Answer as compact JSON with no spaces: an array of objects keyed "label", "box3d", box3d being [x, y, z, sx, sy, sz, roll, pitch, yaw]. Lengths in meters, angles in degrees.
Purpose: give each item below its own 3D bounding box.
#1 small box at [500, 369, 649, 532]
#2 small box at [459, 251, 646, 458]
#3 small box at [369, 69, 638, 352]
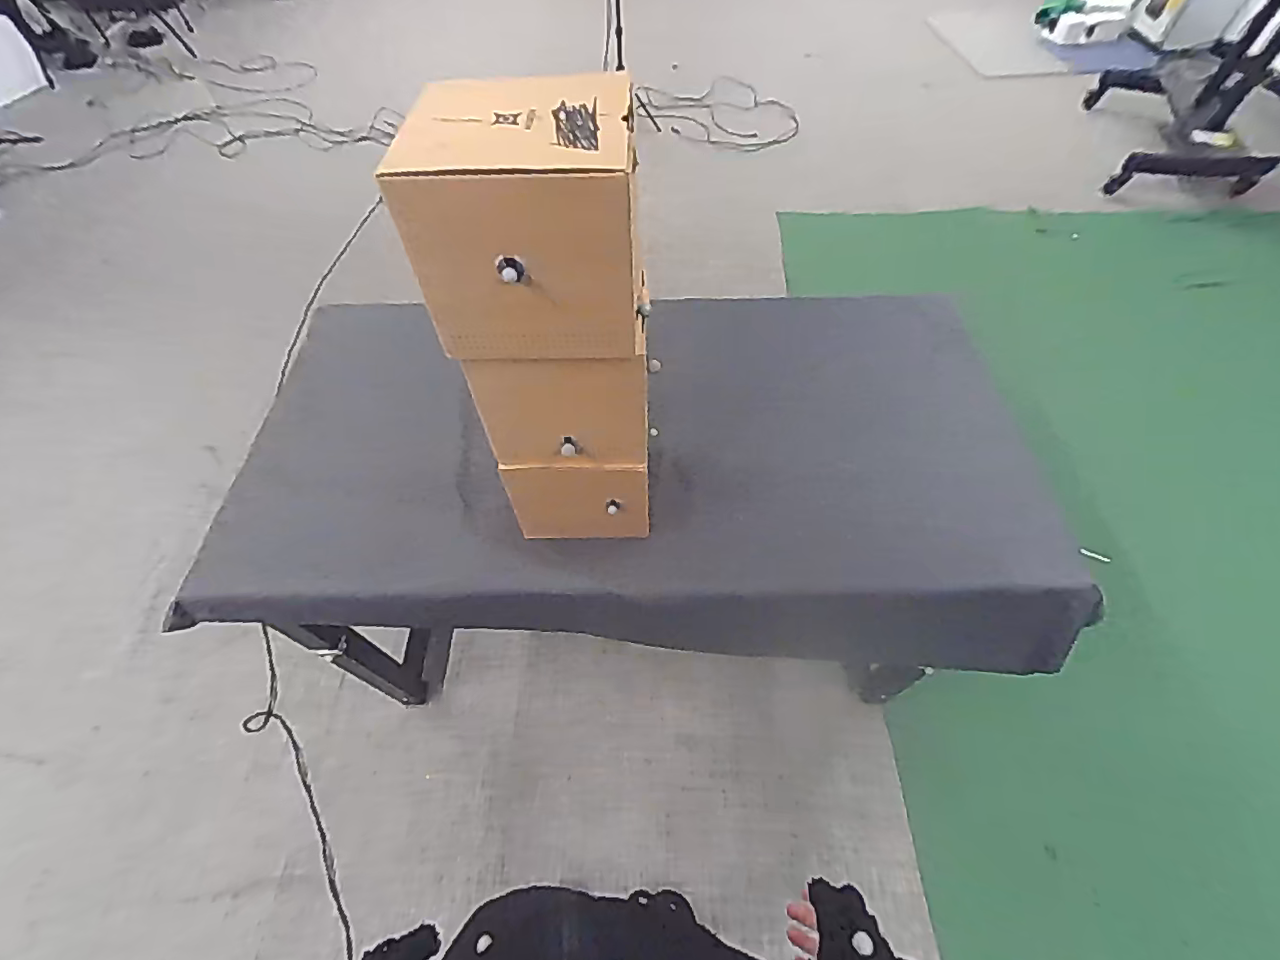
[{"label":"small box","box3d":[-0.076,-0.039,0.745,0.179,0.176,0.168,-2,55,2]},{"label":"small box","box3d":[-0.082,-0.137,0.615,0.179,0.176,0.168,-1,55,1]},{"label":"small box","box3d":[-0.094,-0.230,0.476,0.179,0.176,0.168,2,54,3]}]
